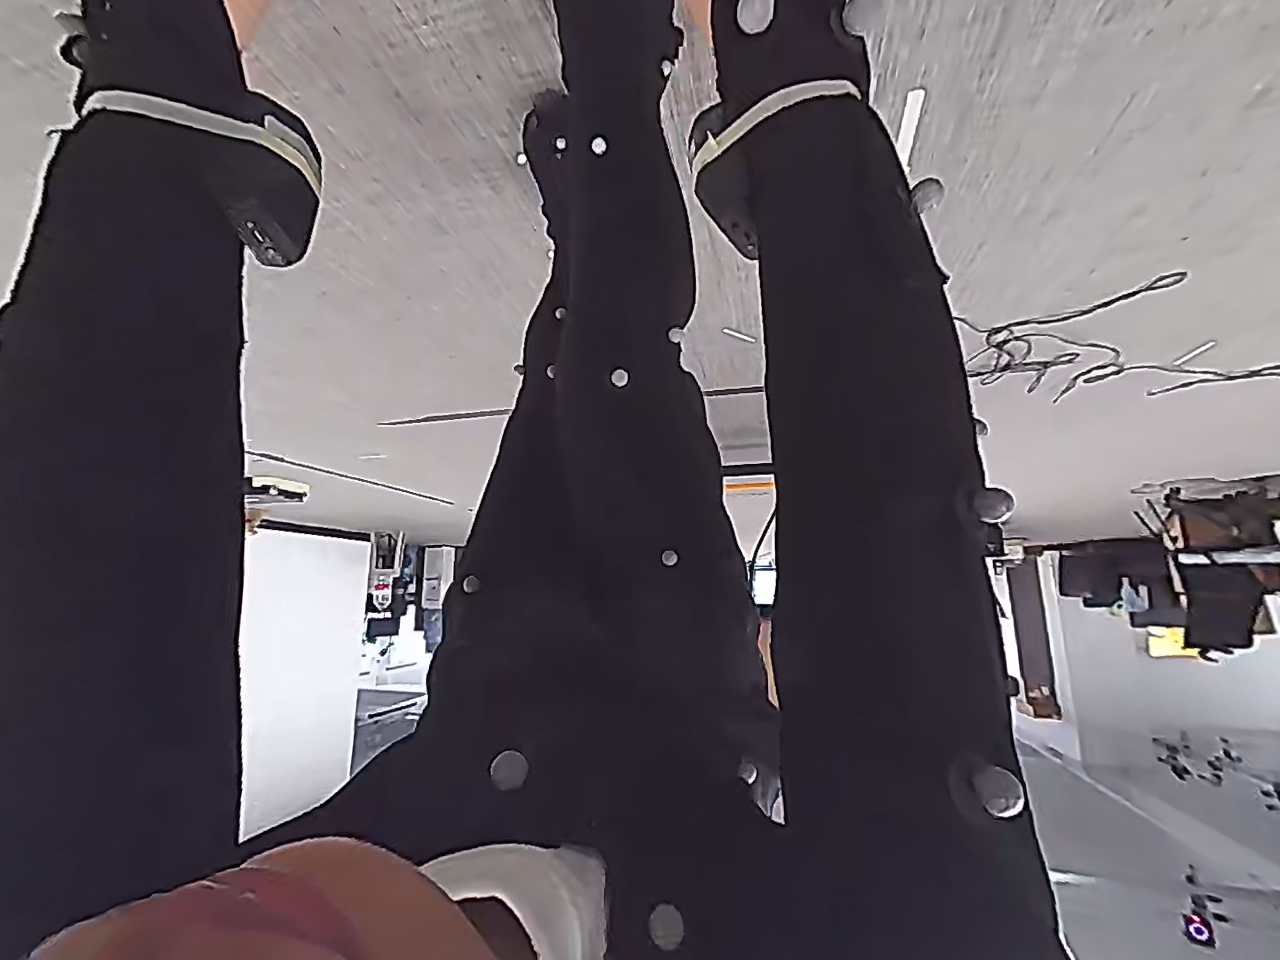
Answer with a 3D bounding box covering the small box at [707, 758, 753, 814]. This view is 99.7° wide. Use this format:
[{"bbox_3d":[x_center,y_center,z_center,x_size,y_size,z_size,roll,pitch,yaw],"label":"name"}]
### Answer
[{"bbox_3d":[0.393,1.326,2.356,0.179,0.176,0.168,-4,169,14],"label":"small box"}]
